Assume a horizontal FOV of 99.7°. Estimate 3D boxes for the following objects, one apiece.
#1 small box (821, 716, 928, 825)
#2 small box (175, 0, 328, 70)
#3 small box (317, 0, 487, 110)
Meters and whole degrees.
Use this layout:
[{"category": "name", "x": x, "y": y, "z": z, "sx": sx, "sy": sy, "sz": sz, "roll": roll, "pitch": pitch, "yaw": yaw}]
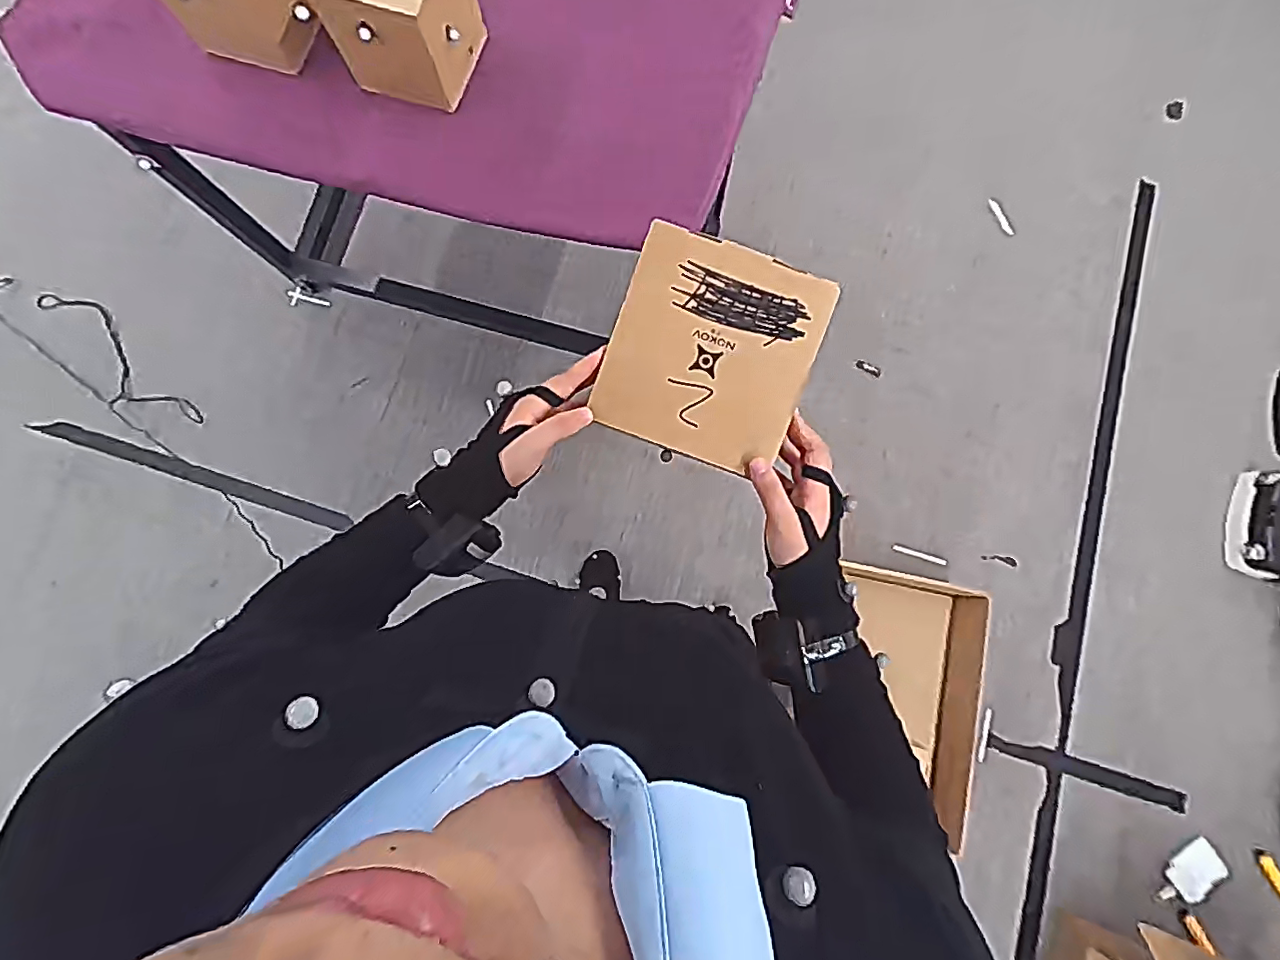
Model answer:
[{"category": "small box", "x": 0.557, "y": 0.689, "z": 1.305, "sx": 0.179, "sy": 0.176, "sz": 0.168, "roll": 14, "pitch": 82, "yaw": 1}, {"category": "small box", "x": -0.637, "y": -0.807, "z": 0.864, "sx": 0.179, "sy": 0.176, "sz": 0.168, "roll": 17, "pitch": 82, "yaw": 2}, {"category": "small box", "x": -0.363, "y": -0.732, "z": 0.853, "sx": 0.179, "sy": 0.176, "sz": 0.168, "roll": 17, "pitch": 81, "yaw": 2}]
